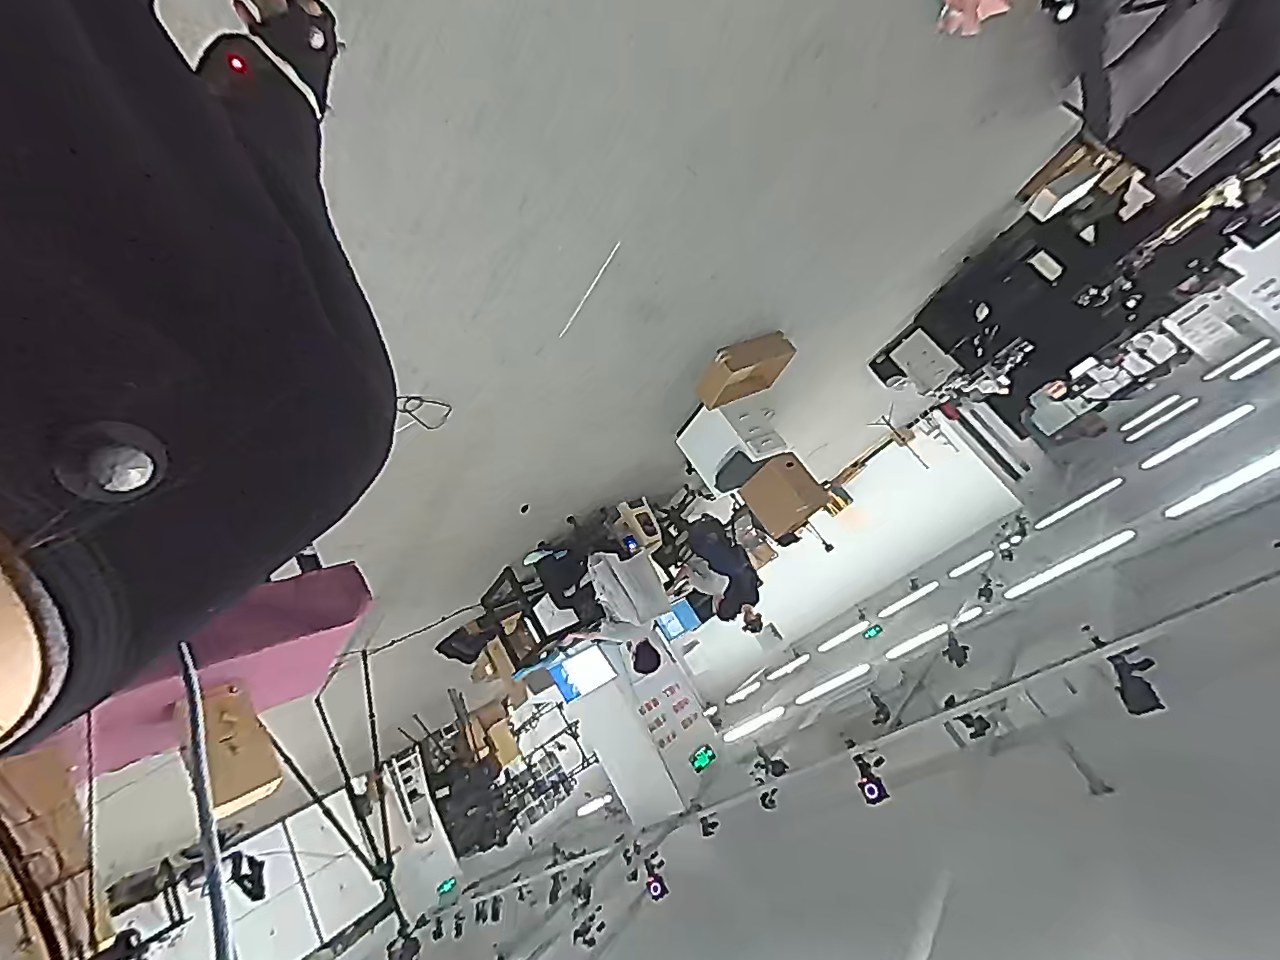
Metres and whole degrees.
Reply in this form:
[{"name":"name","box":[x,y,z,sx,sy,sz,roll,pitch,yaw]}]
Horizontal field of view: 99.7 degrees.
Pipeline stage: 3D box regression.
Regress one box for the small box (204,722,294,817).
[{"name":"small box","box":[-1.180,0.864,1.624,0.179,0.176,0.168,-9,150,-50]}]

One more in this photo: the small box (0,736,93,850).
[{"name":"small box","box":[-1.523,0.786,1.366,0.179,0.176,0.168,-10,151,-51]}]

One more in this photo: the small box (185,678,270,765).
[{"name":"small box","box":[-1.275,0.736,1.667,0.168,0.176,0.179,-11,152,-49]}]

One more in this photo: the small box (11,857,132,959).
[{"name":"small box","box":[-1.334,1.037,1.268,0.179,0.176,0.168,-11,152,-51]}]
